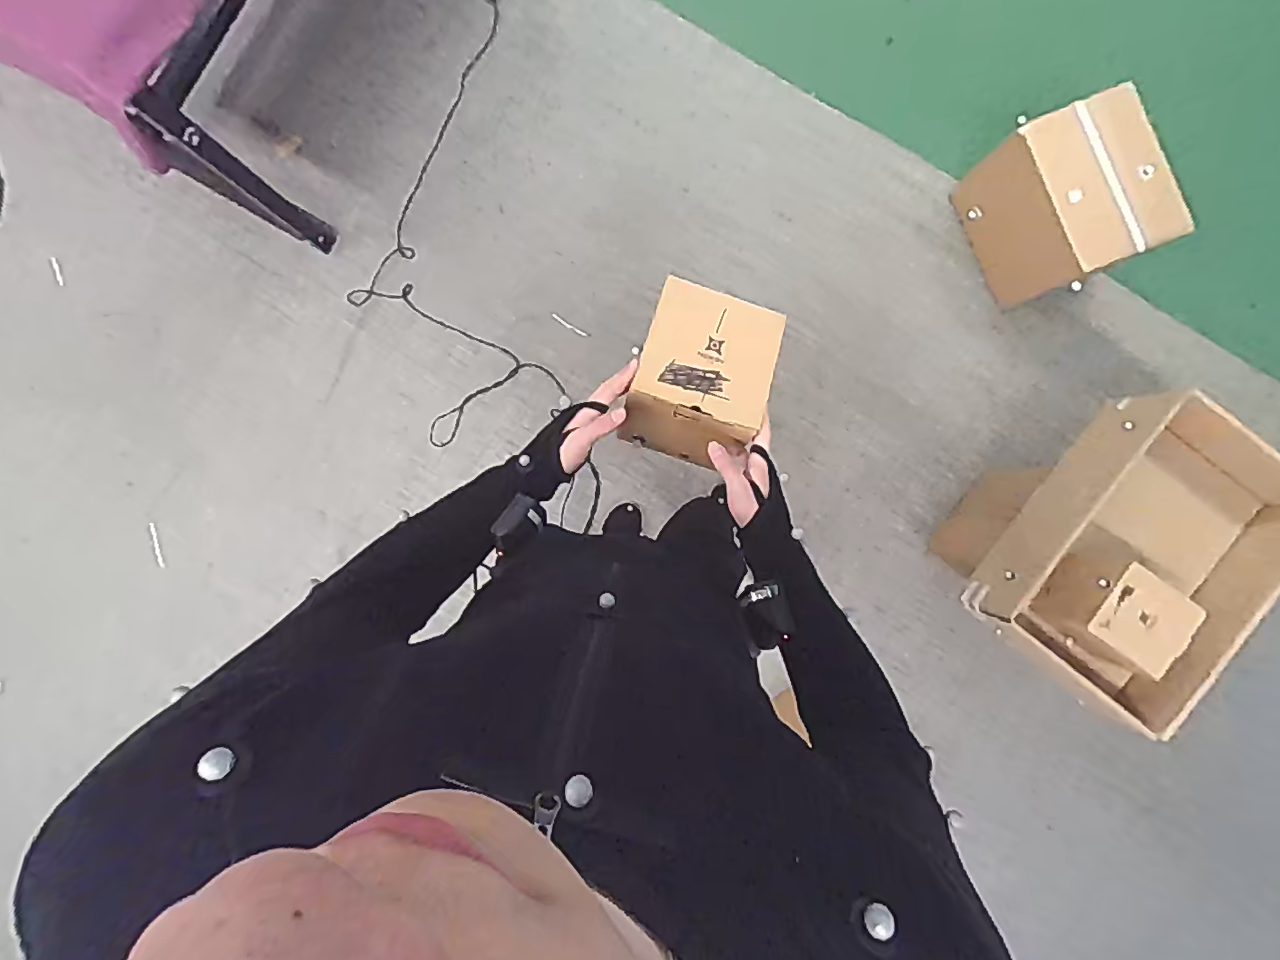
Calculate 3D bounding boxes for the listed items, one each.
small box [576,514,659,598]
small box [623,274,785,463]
[{"bbox_3d":[-0.063,0.219,1.586,0.179,0.176,0.168,-45,83,-3],"label":"small box"},{"bbox_3d":[0.078,-0.141,0.749,0.168,0.176,0.179,17,73,-4],"label":"small box"}]
